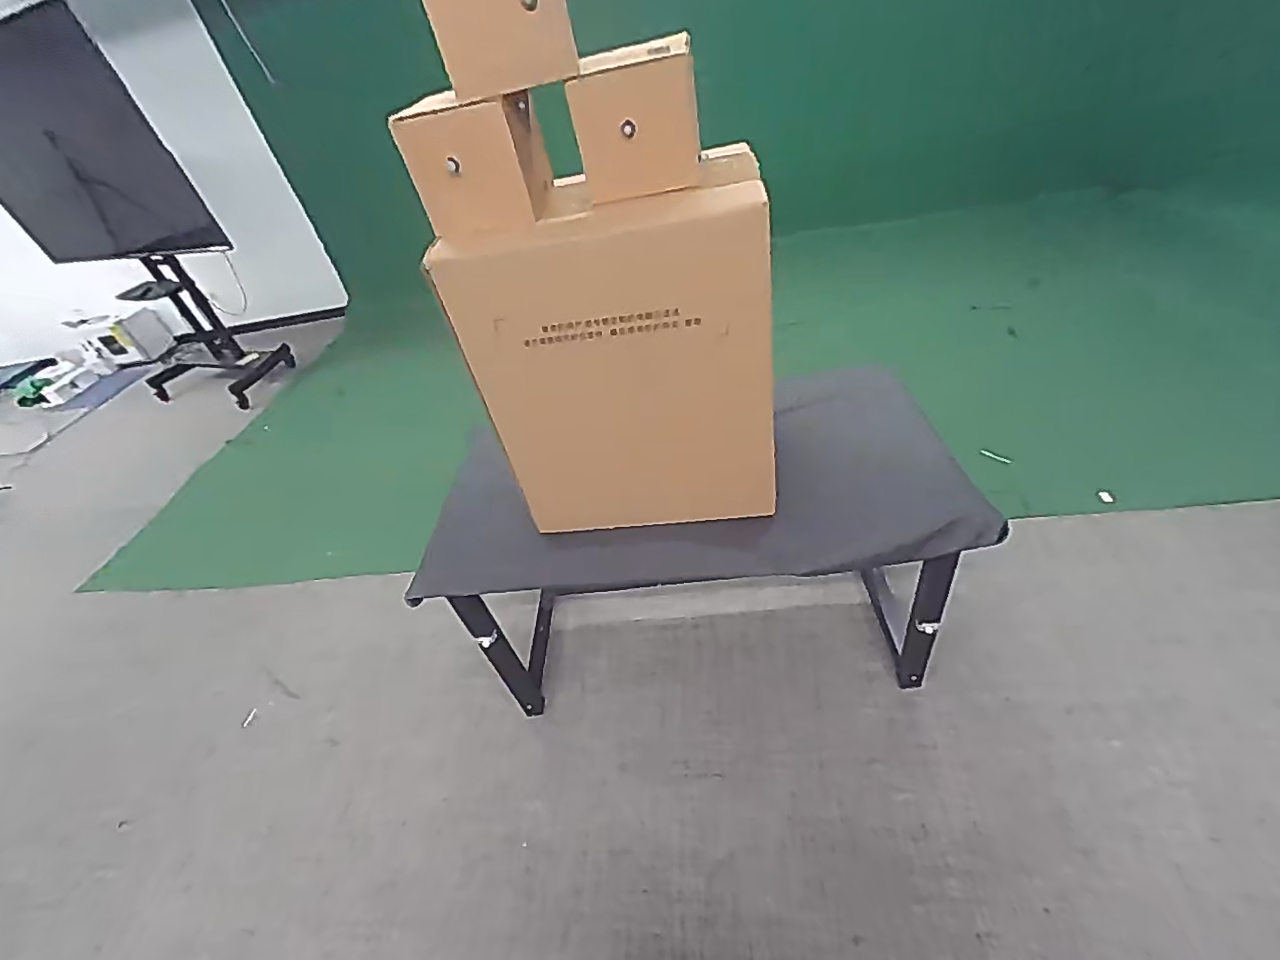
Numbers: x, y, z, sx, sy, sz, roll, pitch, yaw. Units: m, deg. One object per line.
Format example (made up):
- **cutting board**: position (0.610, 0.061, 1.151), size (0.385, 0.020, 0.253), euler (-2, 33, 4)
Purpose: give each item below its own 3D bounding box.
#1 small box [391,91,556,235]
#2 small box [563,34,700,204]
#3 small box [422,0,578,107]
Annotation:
- **small box**: position (-0.254, -0.515, 0.871), size (0.179, 0.176, 0.168), euler (-4, 45, 11)
- **small box**: position (-0.001, -0.556, 0.841), size (0.179, 0.176, 0.168), euler (-5, 45, 12)
- **small box**: position (-0.187, -0.643, 0.746), size (0.179, 0.176, 0.168), euler (-13, 43, 4)
